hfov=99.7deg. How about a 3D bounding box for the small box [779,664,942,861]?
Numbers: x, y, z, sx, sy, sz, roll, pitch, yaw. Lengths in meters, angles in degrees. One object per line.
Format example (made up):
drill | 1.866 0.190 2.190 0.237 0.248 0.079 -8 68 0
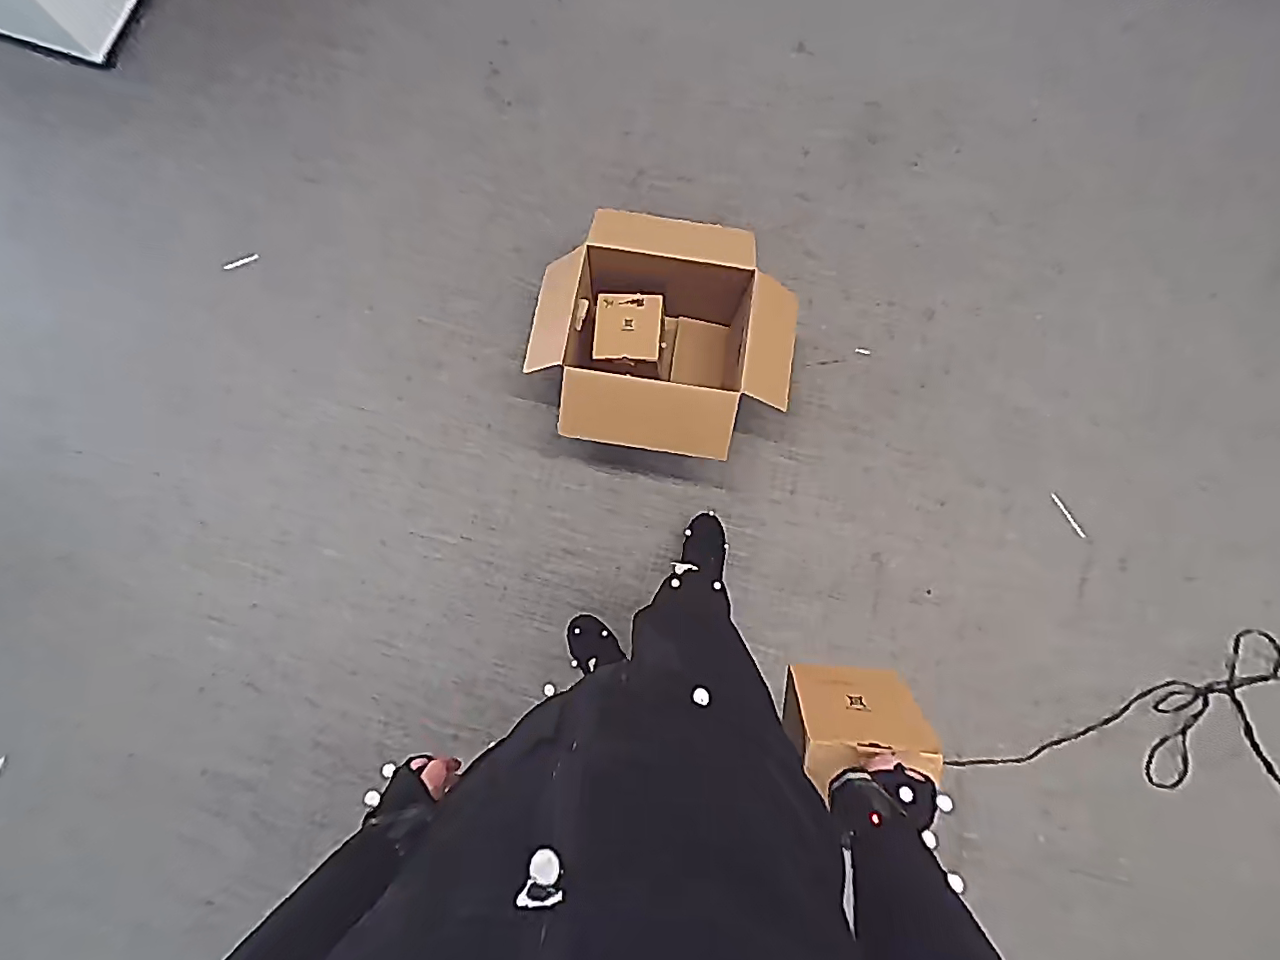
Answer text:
small box | 0.294 0.387 0.758 0.168 0.179 0.176 5 103 7
